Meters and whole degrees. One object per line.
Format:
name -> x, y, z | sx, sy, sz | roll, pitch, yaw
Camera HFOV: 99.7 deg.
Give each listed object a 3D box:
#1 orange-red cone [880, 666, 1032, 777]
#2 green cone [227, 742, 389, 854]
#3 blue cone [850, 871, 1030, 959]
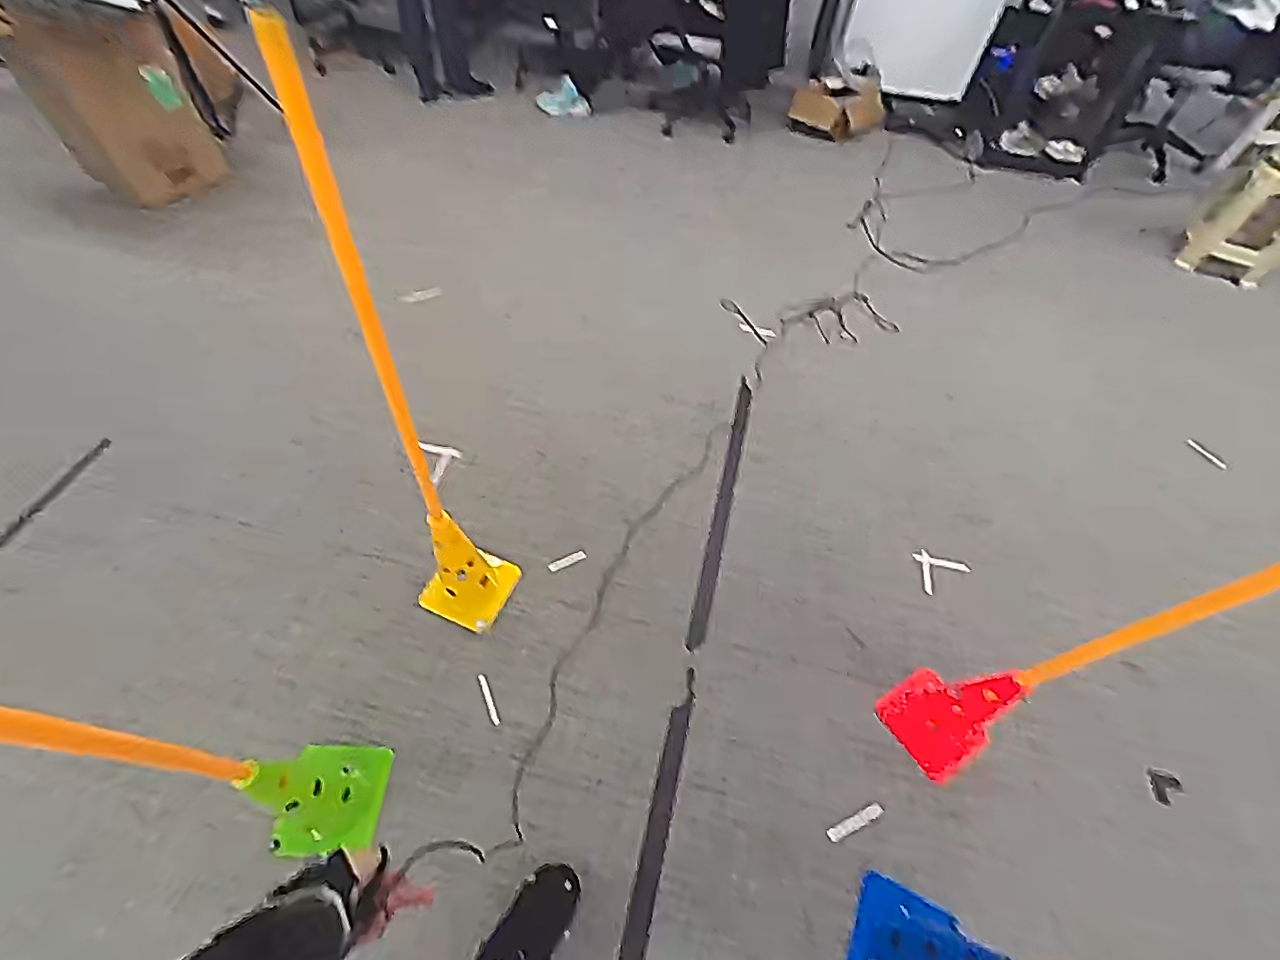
orange-red cone -> 0.704, 0.468, 1.145 | 0.199, 0.360, 0.198 | -25, 59, -19
green cone -> -0.632, 0.550, 0.984 | 0.200, 0.368, 0.202 | 2, 53, -3
blue cone -> 0.521, 0.797, 0.910 | 0.193, 0.380, 0.192 | 26, 55, 14
